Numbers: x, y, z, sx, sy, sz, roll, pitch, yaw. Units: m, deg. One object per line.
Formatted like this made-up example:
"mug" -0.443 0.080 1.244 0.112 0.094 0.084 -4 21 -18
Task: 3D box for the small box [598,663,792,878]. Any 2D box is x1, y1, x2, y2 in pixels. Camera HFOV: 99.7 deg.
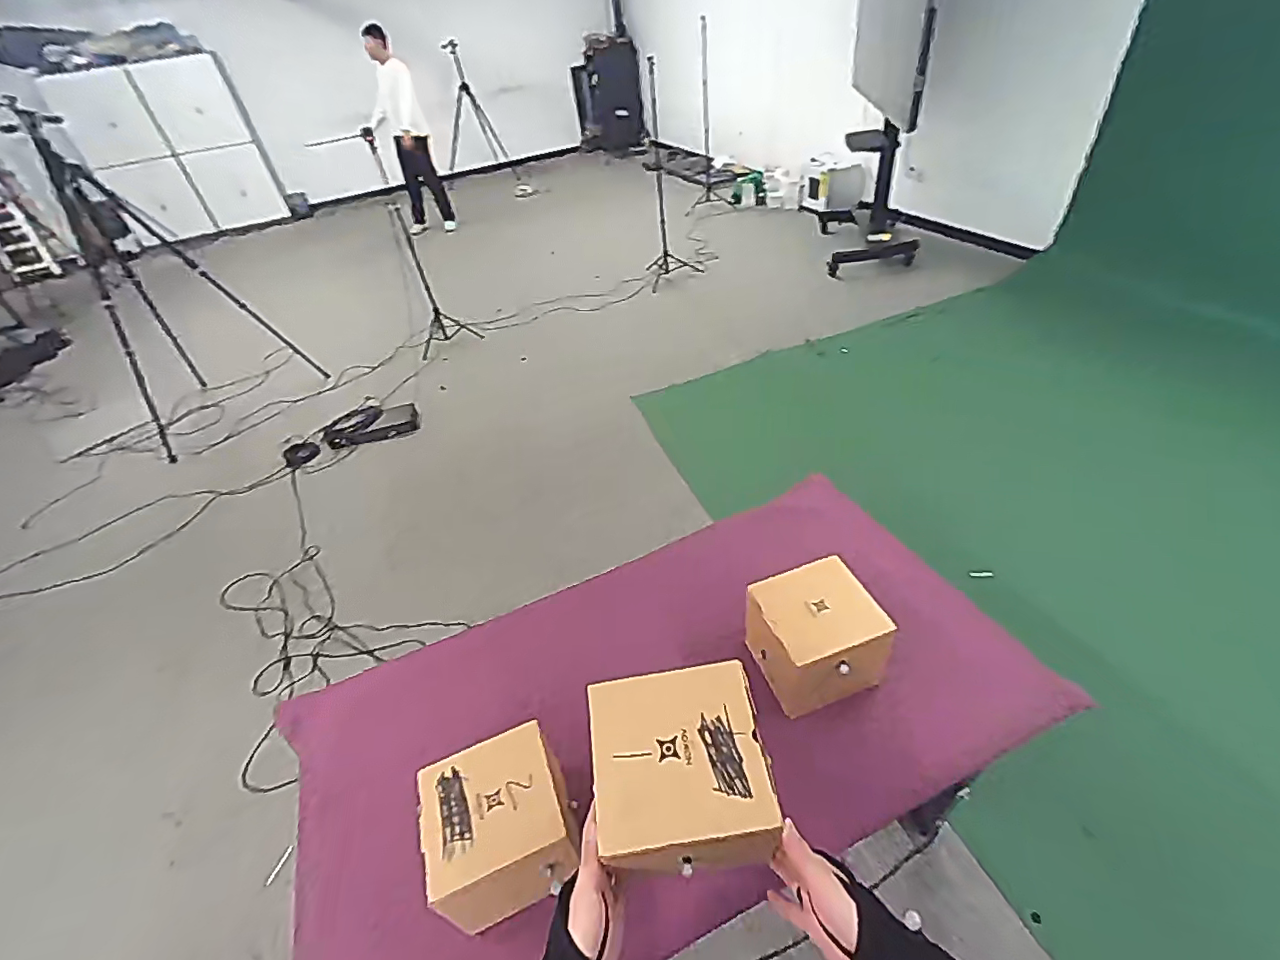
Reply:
"small box" 0.054 0.327 0.607 0.179 0.176 0.168 -9 47 0

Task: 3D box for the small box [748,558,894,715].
"small box" 0.297 0.269 0.930 0.179 0.176 0.168 -19 42 -9
